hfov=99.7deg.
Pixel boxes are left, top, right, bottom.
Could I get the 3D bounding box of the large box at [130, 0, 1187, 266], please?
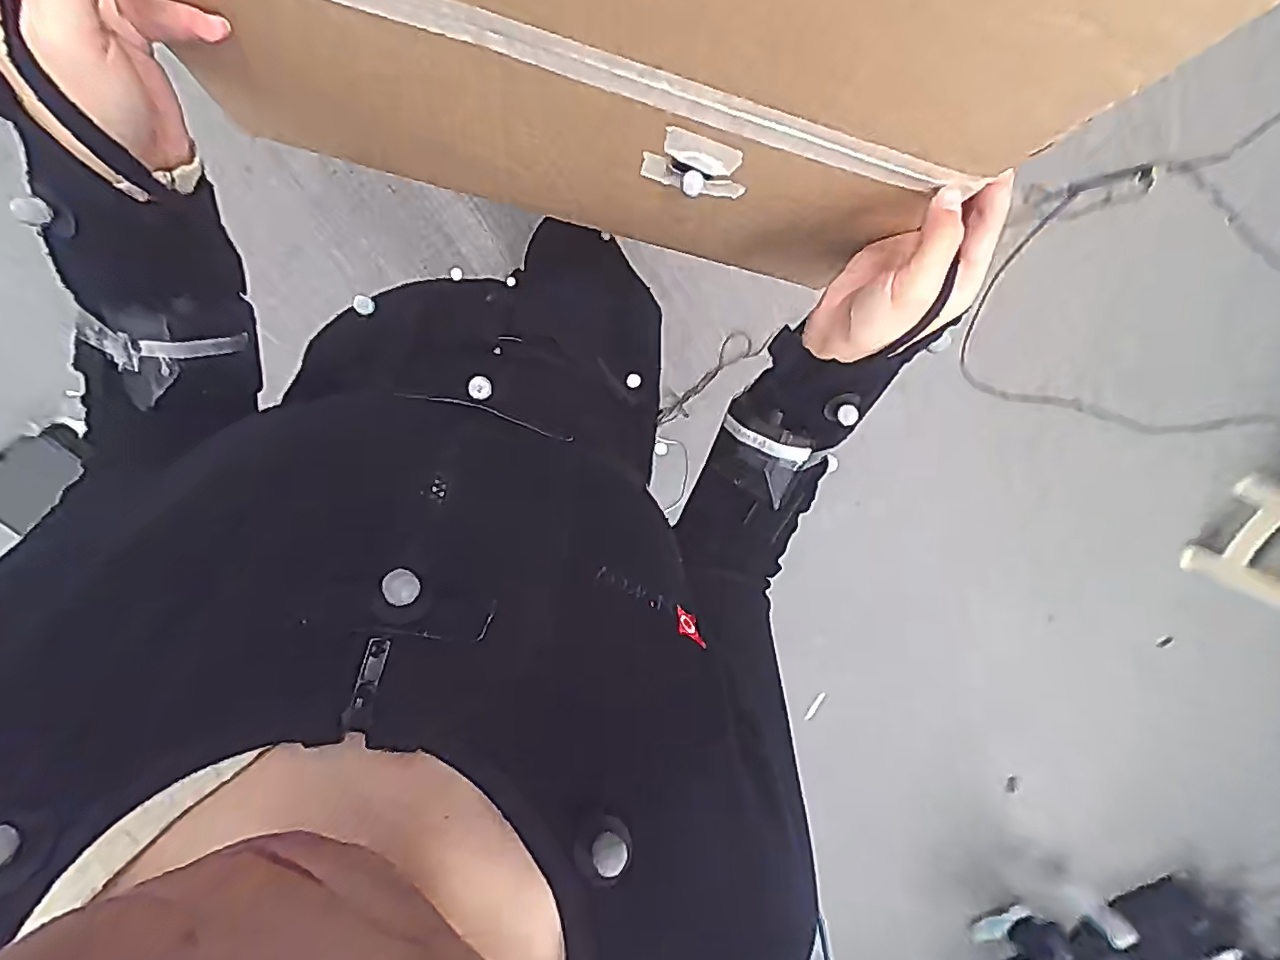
[{"bbox_3d":[-0.008,-0.339,0.236,0.408,0.320,0.320,8,90,-11],"label":"large box"}]
